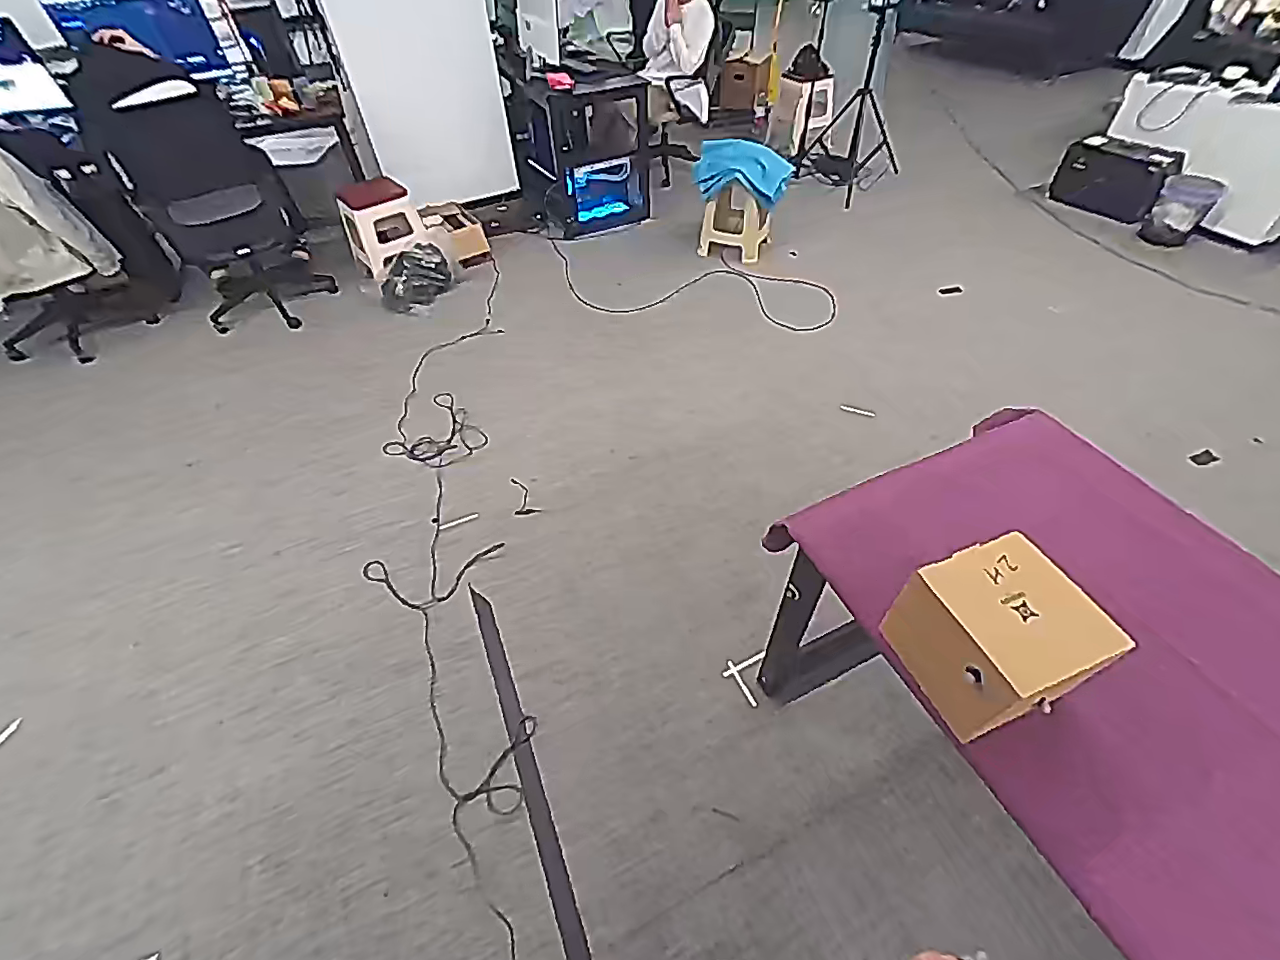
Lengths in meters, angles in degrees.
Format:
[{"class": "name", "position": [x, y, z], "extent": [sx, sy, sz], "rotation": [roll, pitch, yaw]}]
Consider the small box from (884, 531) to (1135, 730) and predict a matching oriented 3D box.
[{"class": "small box", "position": [0.457, 0.202, 0.704], "extent": [0.168, 0.176, 0.179], "rotation": [-17, 50, -12]}]
